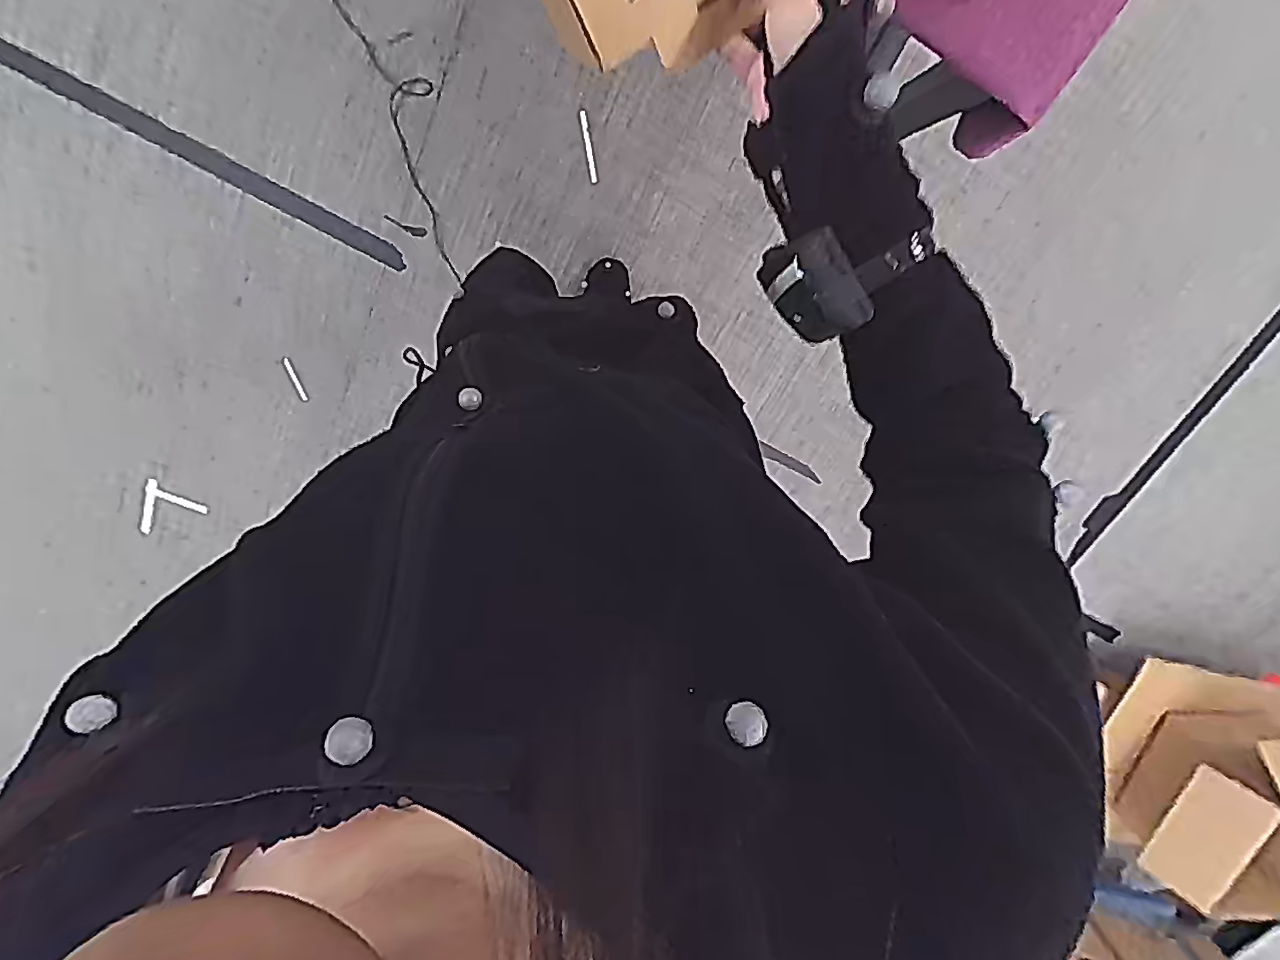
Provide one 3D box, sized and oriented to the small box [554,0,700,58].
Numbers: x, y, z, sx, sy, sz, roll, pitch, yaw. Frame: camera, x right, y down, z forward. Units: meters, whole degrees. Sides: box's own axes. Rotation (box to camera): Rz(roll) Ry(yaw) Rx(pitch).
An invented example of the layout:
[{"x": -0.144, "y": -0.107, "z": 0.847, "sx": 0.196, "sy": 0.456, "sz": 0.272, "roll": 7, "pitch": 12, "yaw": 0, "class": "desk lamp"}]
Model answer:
[{"x": -0.002, "y": -0.383, "z": 0.301, "sx": 0.168, "sy": 0.176, "sz": 0.179, "roll": -29, "pitch": 131, "yaw": 9, "class": "small box"}]
